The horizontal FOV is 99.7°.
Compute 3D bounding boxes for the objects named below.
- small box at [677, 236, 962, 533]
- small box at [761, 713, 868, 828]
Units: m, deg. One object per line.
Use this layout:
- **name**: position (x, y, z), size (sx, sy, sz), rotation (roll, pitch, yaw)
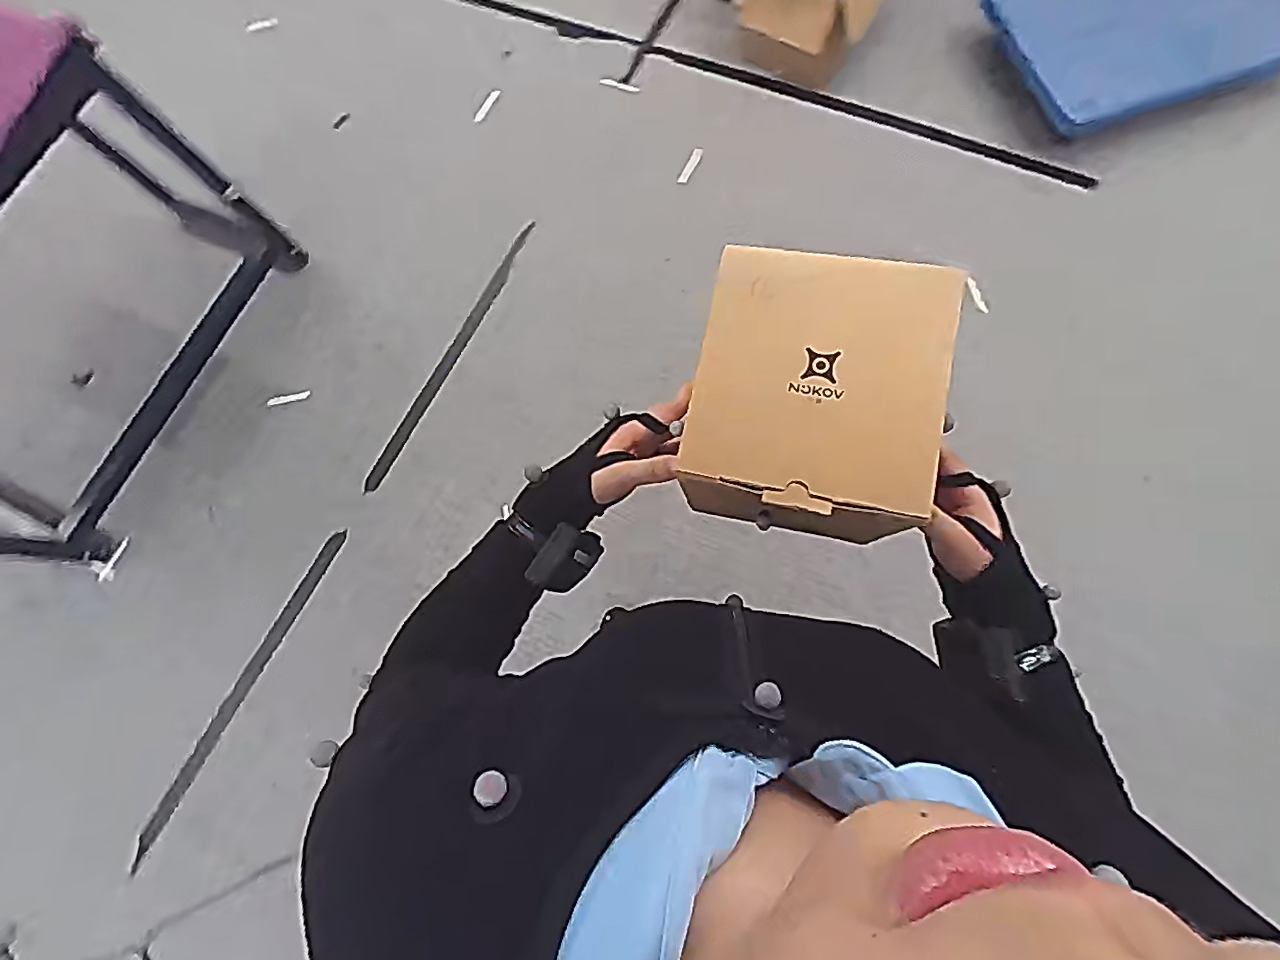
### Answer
- **small box**: position (0.130, -0.062, 0.435), size (0.168, 0.176, 0.179), rotation (9, 81, 11)
- **small box**: position (0.410, 0.685, 1.303), size (0.179, 0.176, 0.168), rotation (29, 80, 11)
